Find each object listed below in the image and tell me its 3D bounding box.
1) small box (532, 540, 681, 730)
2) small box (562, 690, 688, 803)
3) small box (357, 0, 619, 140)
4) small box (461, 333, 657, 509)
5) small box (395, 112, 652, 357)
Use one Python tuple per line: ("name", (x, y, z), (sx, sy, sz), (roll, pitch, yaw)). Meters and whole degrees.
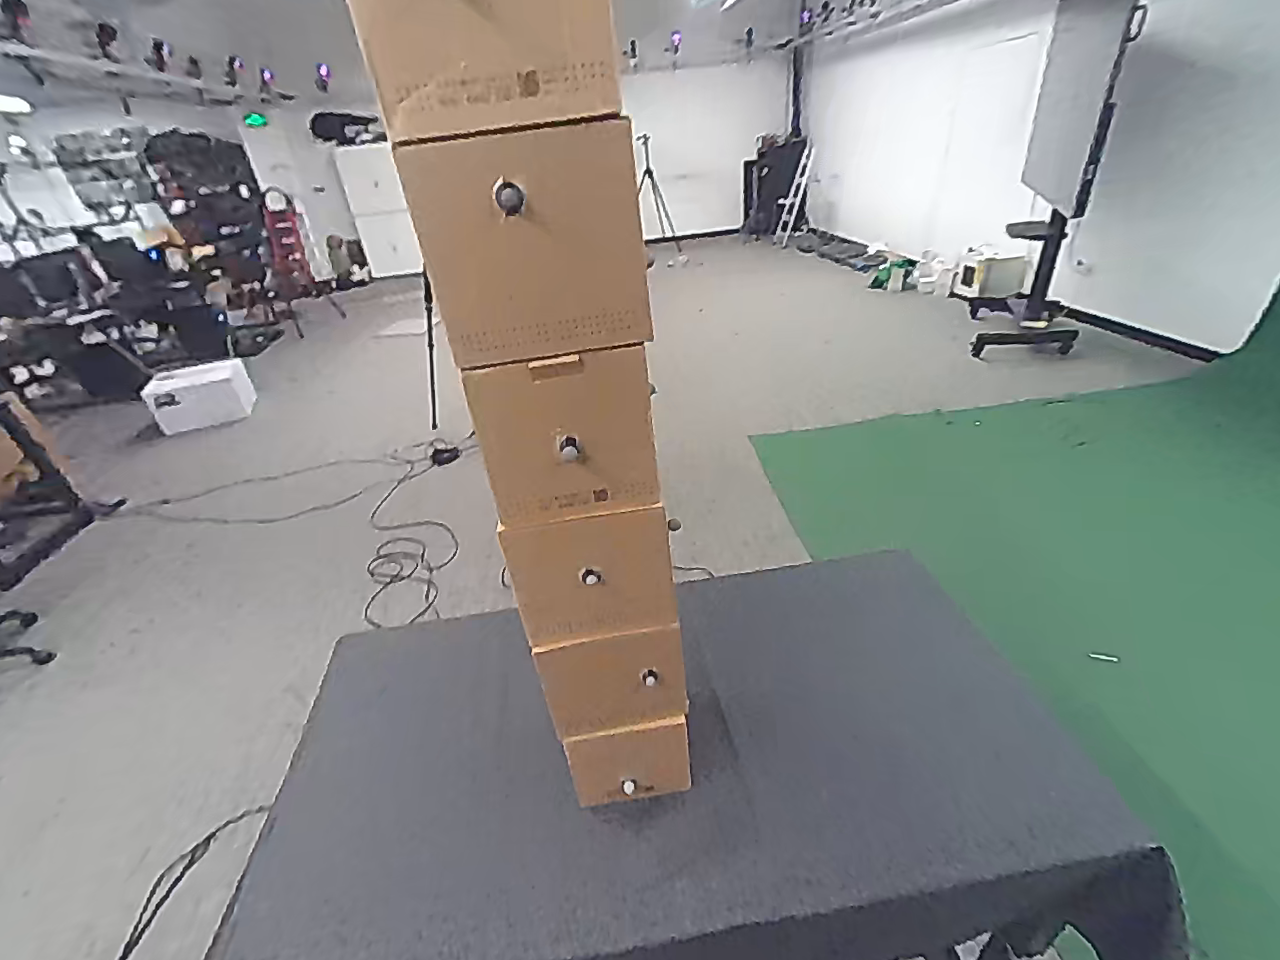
("small box", (-0.043, 0.208, 0.736), (0.179, 0.176, 0.168), (-9, 30, -4))
("small box", (-0.023, 0.348, 0.817), (0.168, 0.176, 0.179), (-8, 32, -2))
("small box", (-0.111, -0.362, 0.421), (0.168, 0.176, 0.179), (-8, 29, -1))
("small box", (-0.079, -0.081, 0.587), (0.168, 0.176, 0.179), (-9, 31, -3))
("small box", (-0.092, -0.221, 0.501), (0.179, 0.176, 0.168), (-9, 30, -3))
